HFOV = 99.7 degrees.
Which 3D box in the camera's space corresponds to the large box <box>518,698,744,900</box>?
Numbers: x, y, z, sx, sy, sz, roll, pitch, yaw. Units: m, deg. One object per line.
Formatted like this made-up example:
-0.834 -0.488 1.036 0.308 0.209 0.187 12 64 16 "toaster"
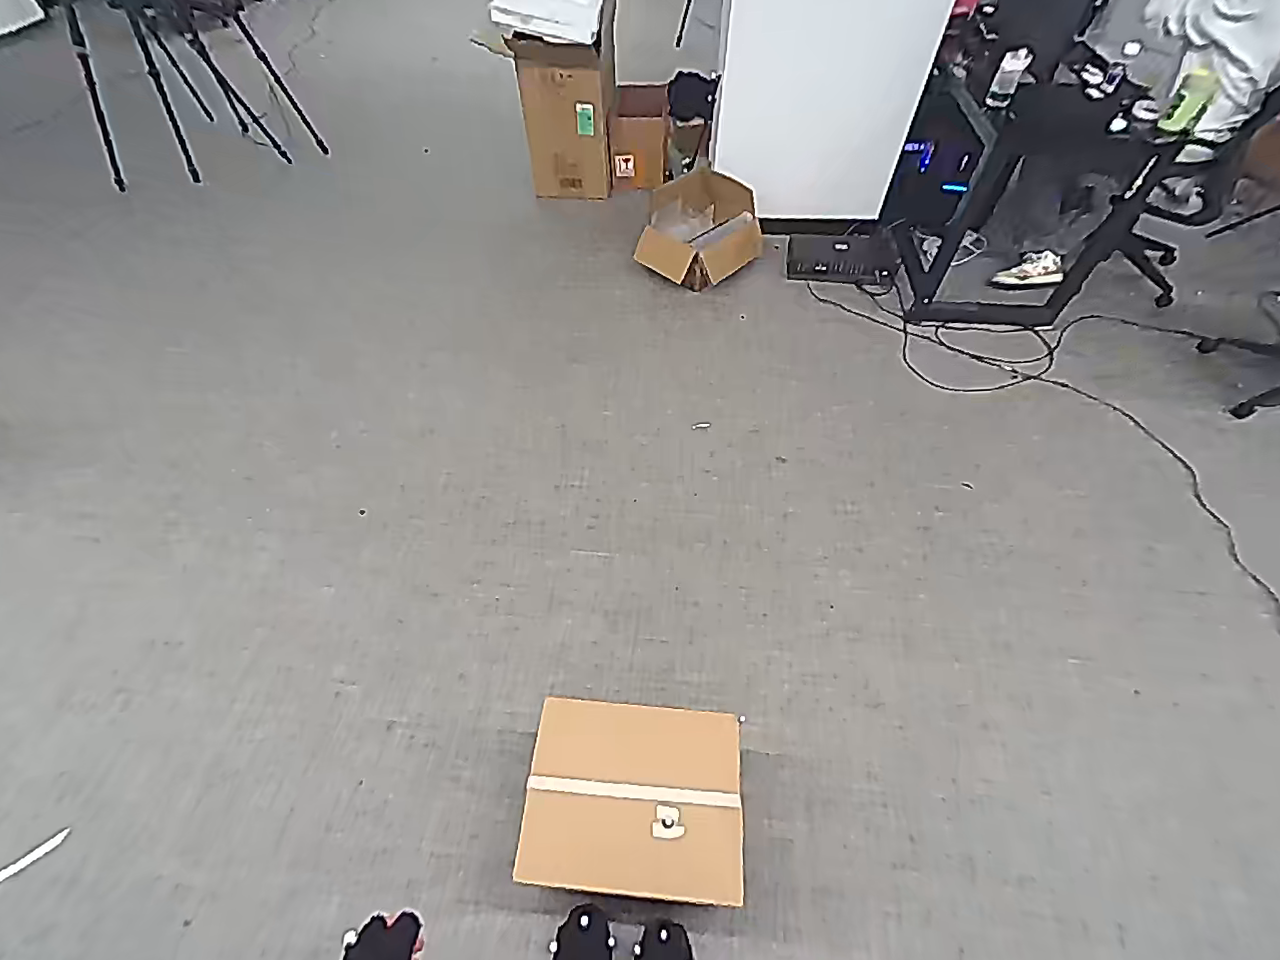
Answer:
-0.010 0.676 1.142 0.408 0.320 0.320 4 54 3 "large box"
